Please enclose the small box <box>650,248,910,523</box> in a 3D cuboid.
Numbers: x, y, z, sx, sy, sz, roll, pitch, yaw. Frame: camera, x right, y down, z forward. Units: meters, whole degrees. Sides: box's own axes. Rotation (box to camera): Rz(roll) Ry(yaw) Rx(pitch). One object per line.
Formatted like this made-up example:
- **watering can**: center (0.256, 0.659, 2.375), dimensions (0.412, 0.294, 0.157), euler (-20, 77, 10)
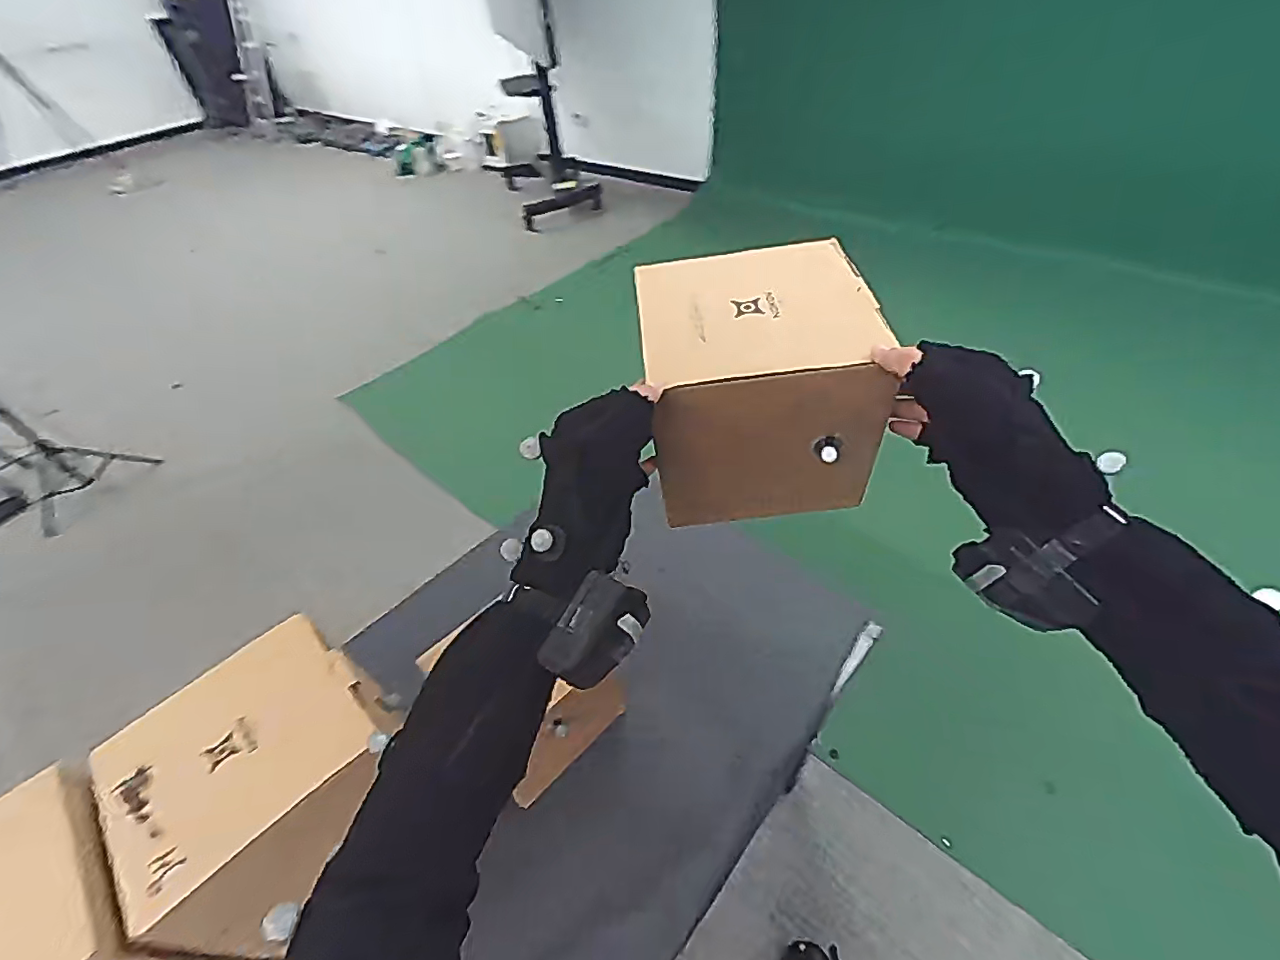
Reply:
- **small box**: center (0.105, -0.079, 0.483), dimensions (0.179, 0.176, 0.168), euler (-6, 48, 4)
